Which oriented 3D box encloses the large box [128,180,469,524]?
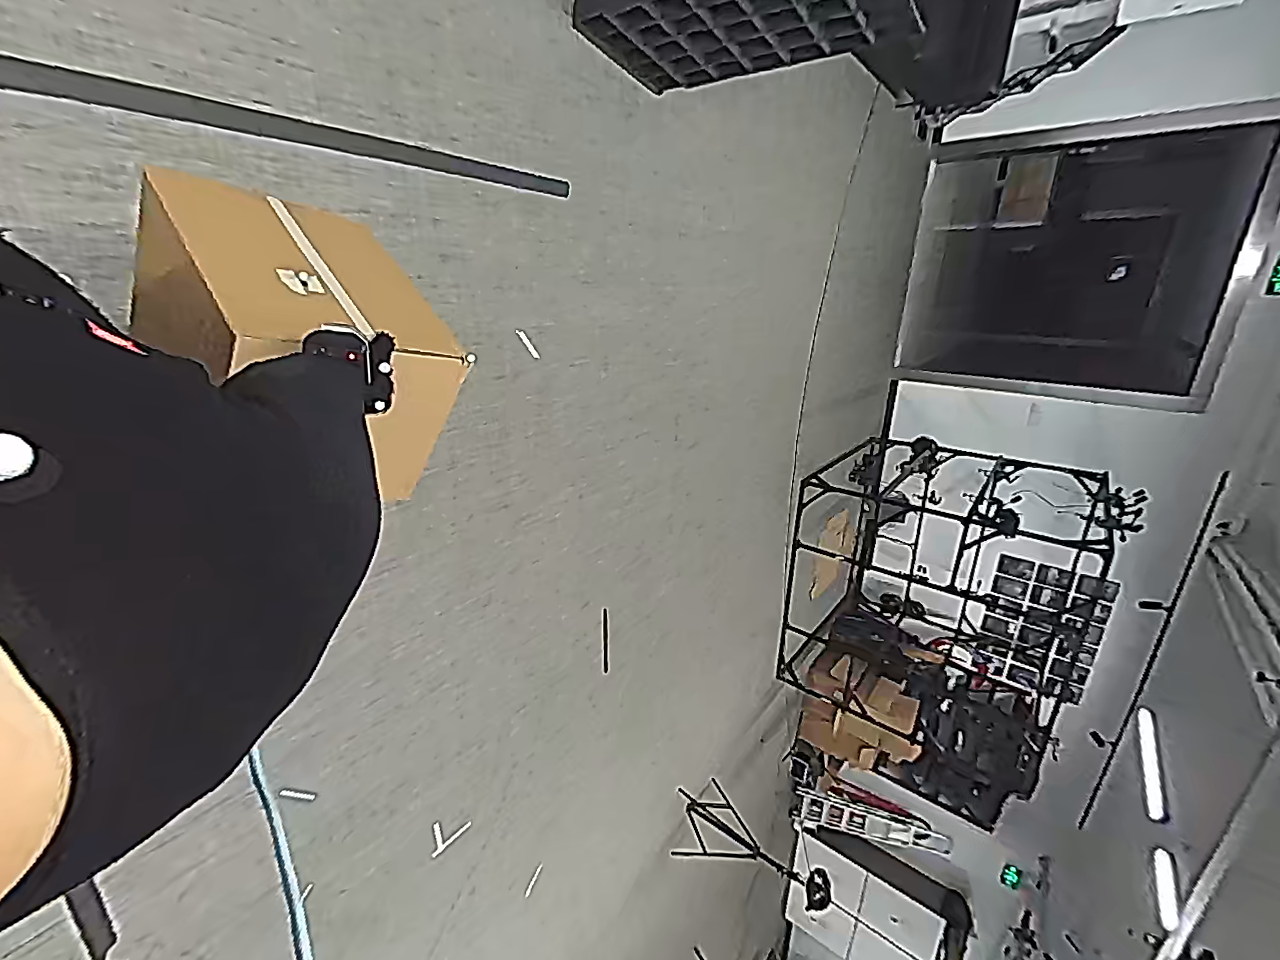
[{"bbox_3d":[-0.562,-0.193,0.880,0.320,0.408,0.320,-10,143,-53],"label":"large box"}]
